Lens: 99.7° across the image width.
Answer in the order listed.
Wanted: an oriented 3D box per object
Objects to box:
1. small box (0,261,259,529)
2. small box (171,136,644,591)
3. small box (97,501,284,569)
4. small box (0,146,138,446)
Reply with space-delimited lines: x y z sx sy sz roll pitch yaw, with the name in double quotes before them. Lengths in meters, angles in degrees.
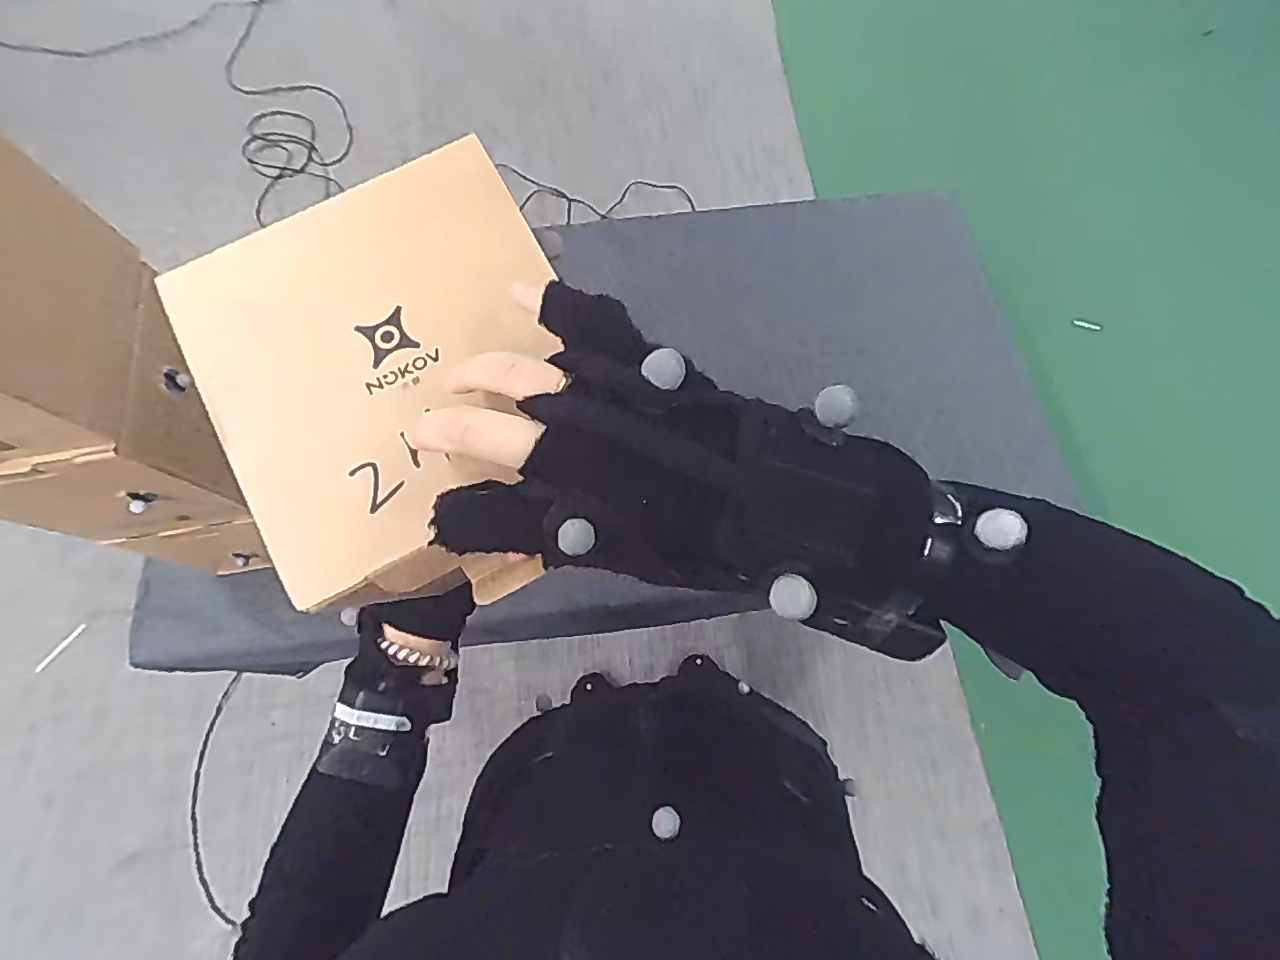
"small box" -0.466 -0.061 0.486 0.168 0.176 0.179 -9 71 -4
"small box" -0.110 -0.047 0.326 0.168 0.176 0.179 -27 82 -5
"small box" -0.467 -0.005 0.639 0.168 0.176 0.179 -9 71 -3
"small box" -0.468 -0.122 0.334 0.168 0.176 0.179 -10 71 -5
